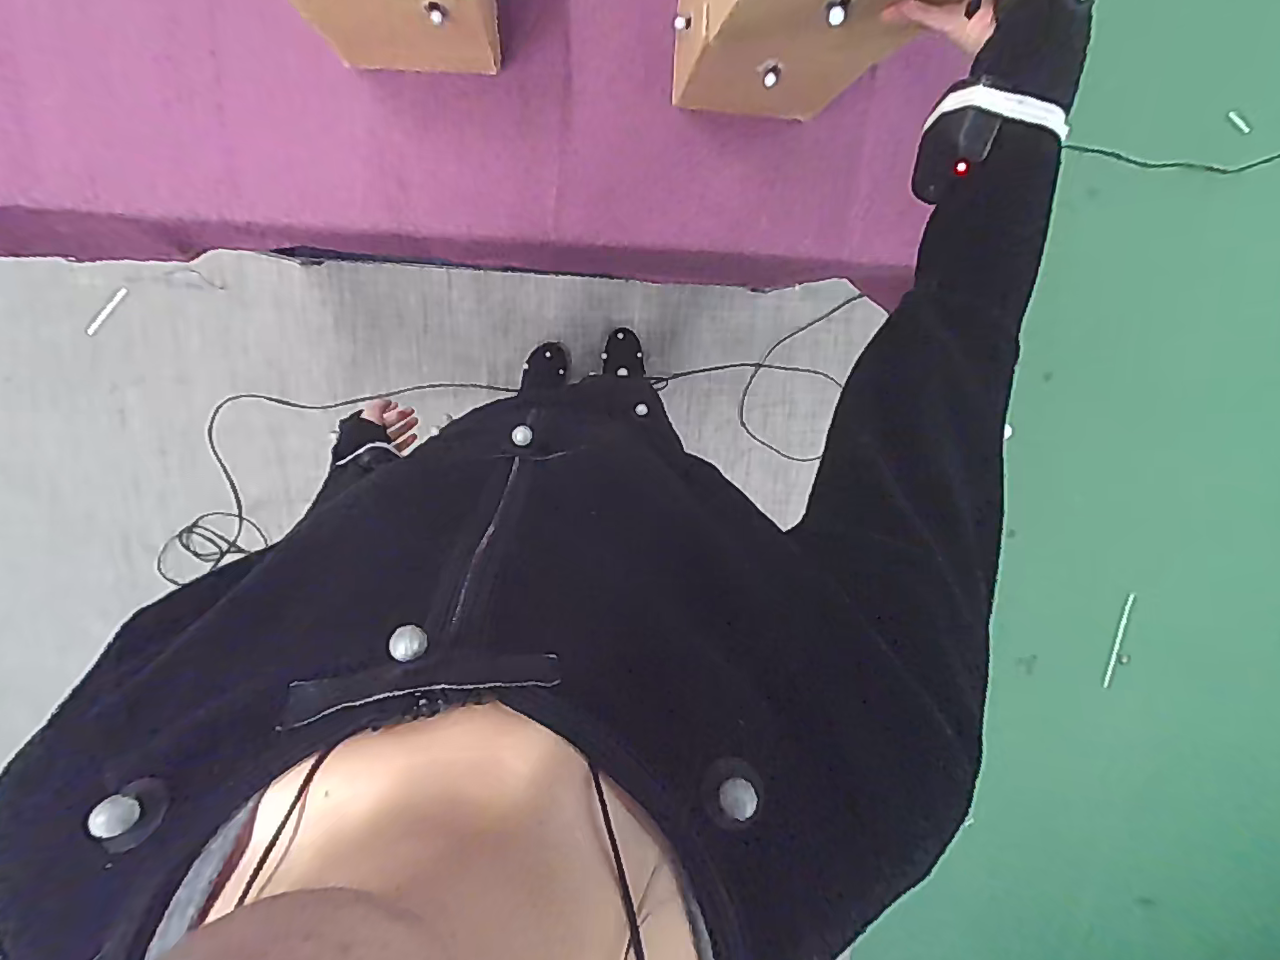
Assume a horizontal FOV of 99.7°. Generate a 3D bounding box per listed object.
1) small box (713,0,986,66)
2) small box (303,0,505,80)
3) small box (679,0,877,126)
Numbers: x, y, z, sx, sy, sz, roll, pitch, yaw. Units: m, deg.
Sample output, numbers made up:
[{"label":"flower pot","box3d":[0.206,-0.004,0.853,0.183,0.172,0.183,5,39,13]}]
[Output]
[{"label":"small box","box3d":[0.171,-0.455,0.419,0.179,0.176,0.168,0,108,-10]},{"label":"small box","box3d":[-0.237,-0.527,0.534,0.179,0.176,0.168,-3,105,-7]},{"label":"small box","box3d":[0.144,-0.506,0.580,0.179,0.176,0.168,2,106,-8]}]
